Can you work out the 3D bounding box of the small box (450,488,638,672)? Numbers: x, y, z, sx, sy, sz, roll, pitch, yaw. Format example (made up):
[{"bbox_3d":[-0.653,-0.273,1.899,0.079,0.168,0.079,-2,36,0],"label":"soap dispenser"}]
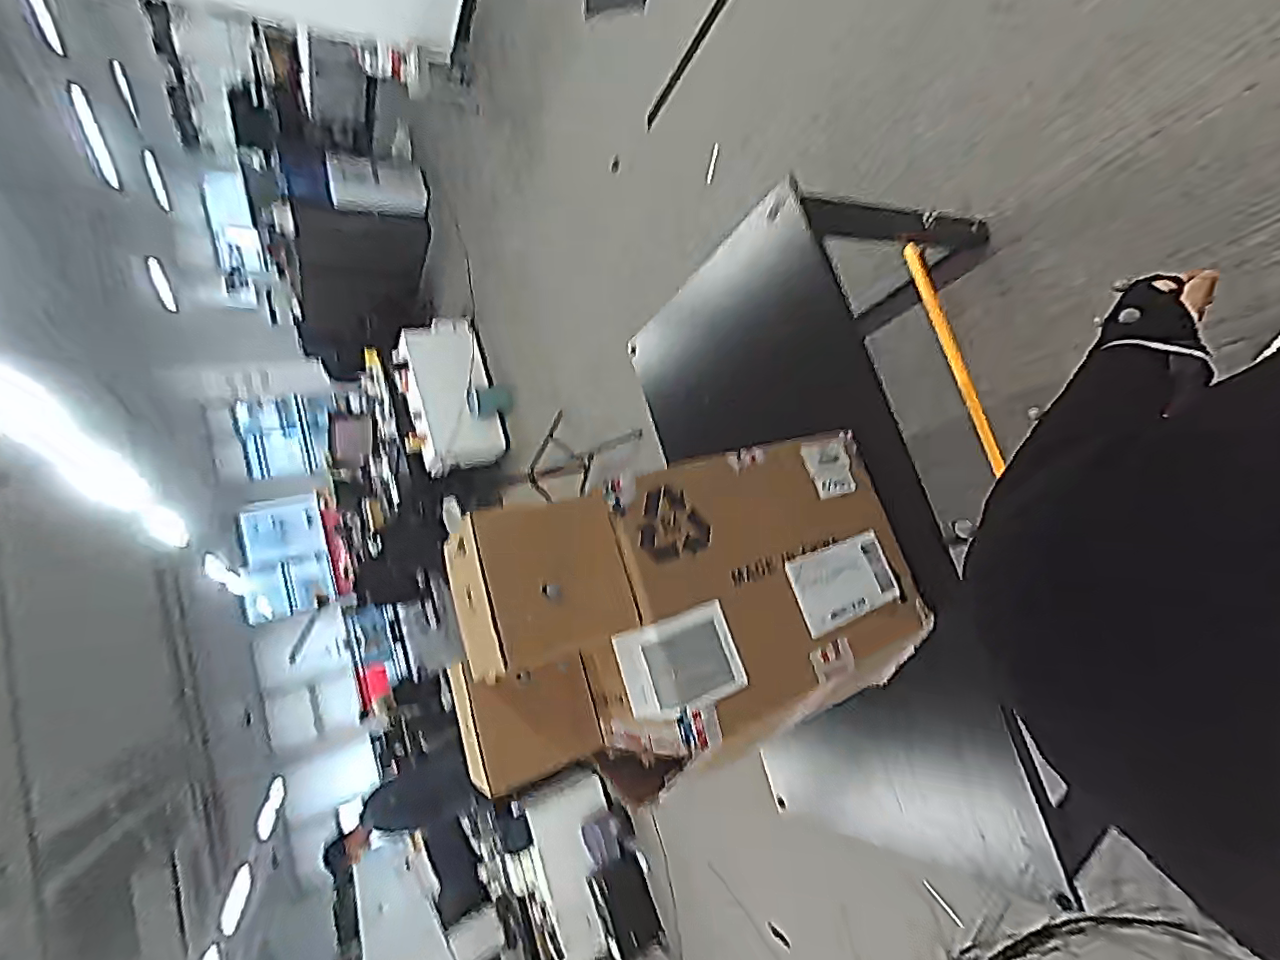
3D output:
[{"bbox_3d":[-0.123,0.125,0.682,0.168,0.176,0.179,-37,69,55],"label":"small box"}]

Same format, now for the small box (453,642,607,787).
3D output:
[{"bbox_3d":[-0.172,0.329,0.824,0.168,0.176,0.179,-39,67,59],"label":"small box"}]
